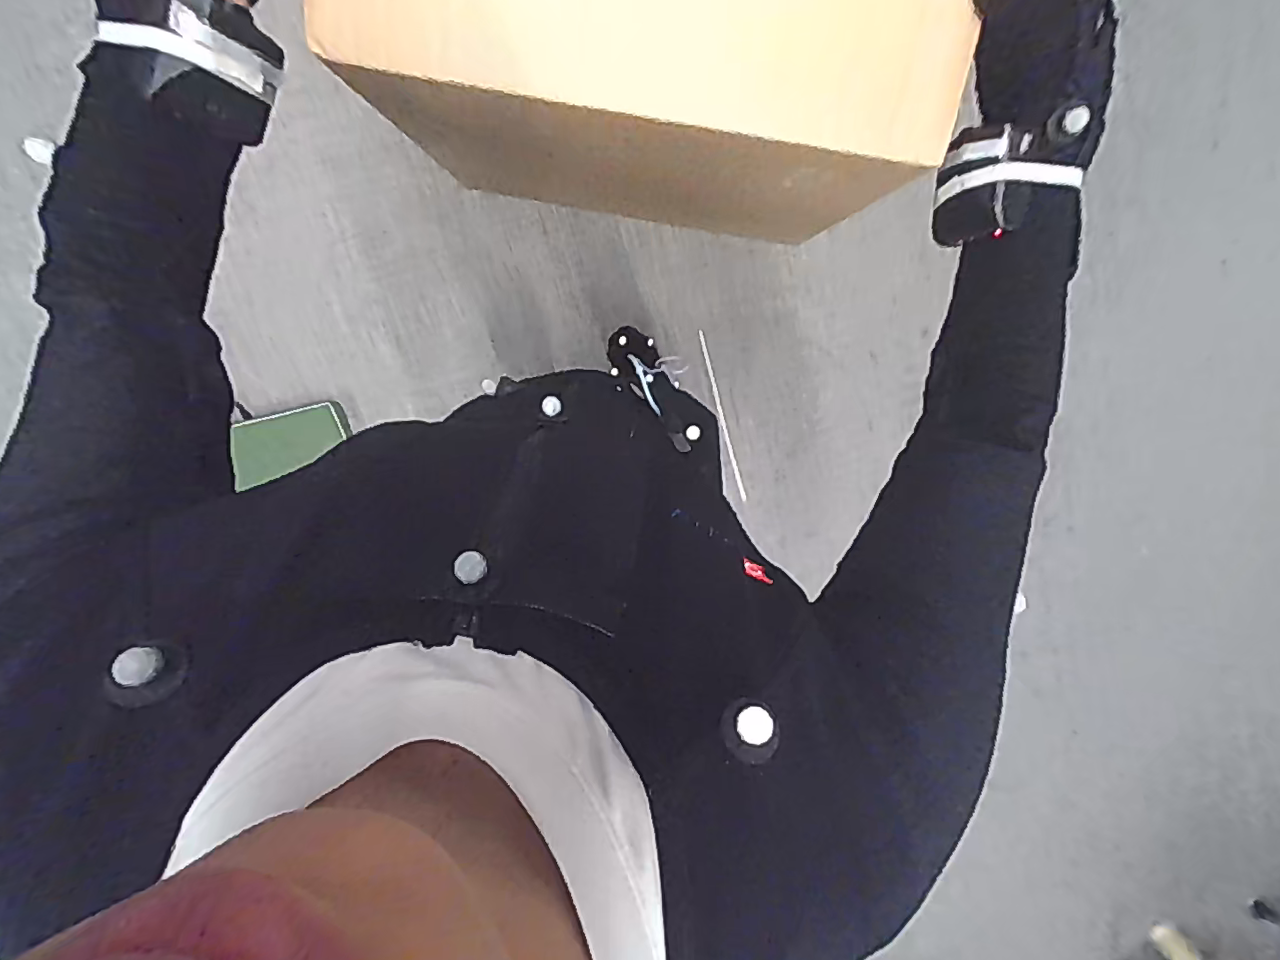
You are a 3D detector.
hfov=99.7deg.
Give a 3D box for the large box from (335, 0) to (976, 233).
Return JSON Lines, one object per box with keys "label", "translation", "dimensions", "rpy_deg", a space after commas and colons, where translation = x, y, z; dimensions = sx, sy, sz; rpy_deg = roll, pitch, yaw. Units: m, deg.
{"label": "large box", "translation": [0.018, -0.426, 0.457], "dimensions": [0.408, 0.320, 0.320], "rpy_deg": [7, 105, -4]}
